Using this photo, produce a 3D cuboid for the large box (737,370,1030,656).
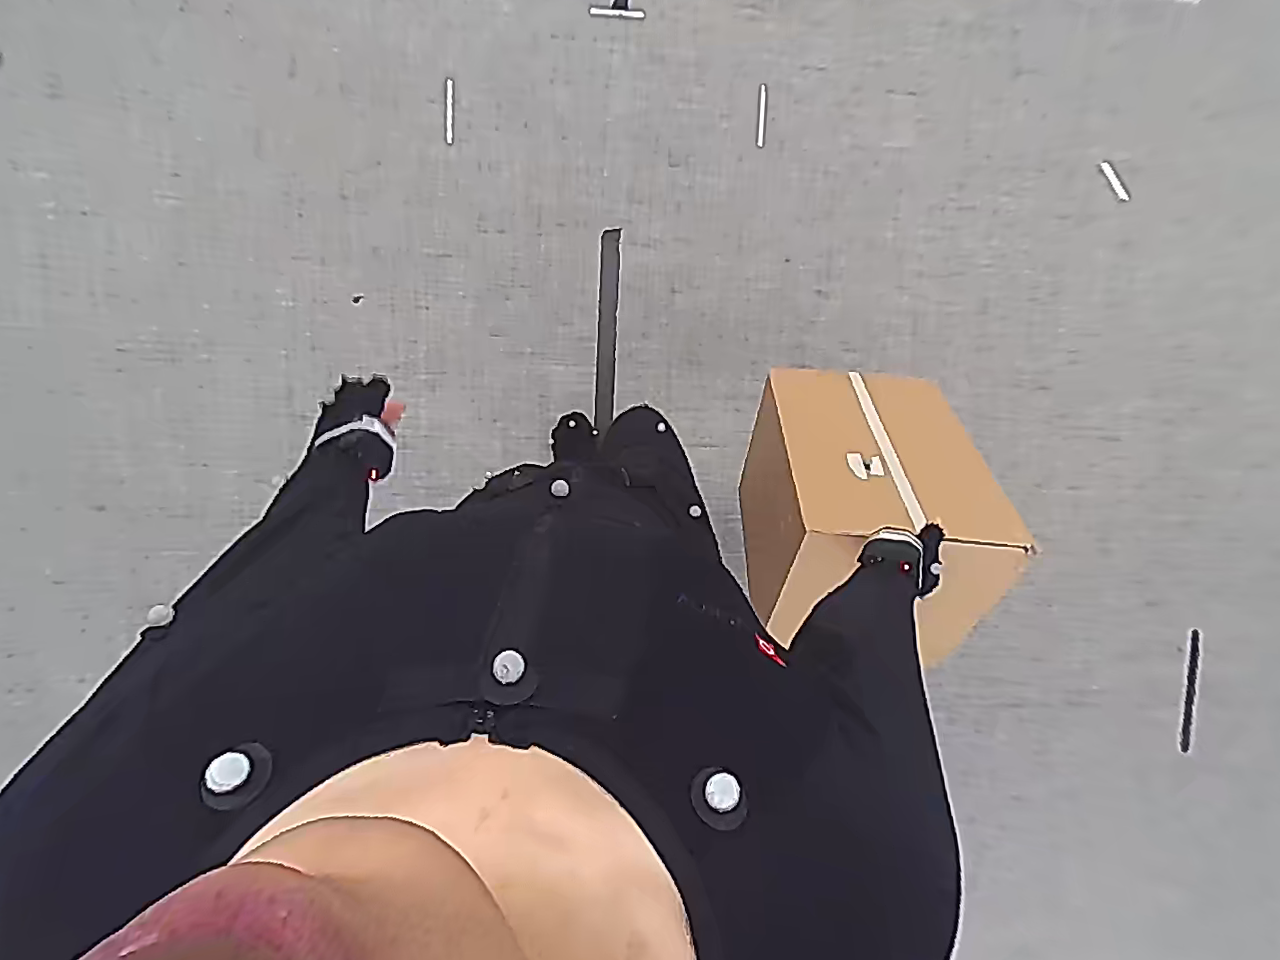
[{"bbox_3d":[0.374,0.052,0.974,0.320,0.408,0.320,5,135,-1],"label":"large box"}]
